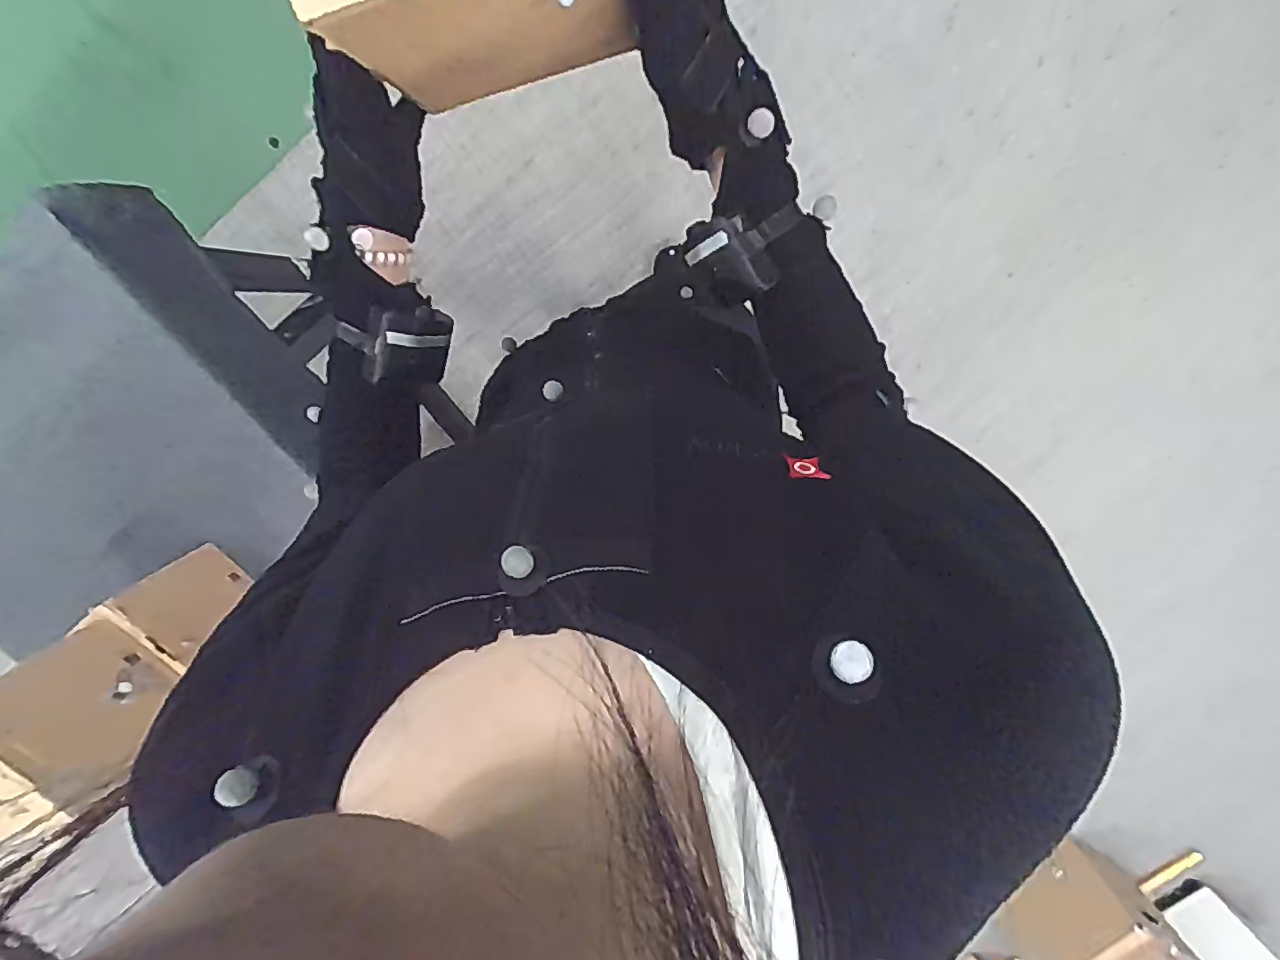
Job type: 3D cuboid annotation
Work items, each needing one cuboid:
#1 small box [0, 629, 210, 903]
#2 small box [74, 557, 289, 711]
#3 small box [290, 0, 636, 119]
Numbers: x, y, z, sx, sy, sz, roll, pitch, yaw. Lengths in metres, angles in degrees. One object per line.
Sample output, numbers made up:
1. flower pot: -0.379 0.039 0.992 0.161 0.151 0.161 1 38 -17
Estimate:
1. small box: -0.646 0.306 0.604 0.179 0.176 0.168 -38 104 12
2. small box: -0.638 0.238 0.753 0.179 0.176 0.168 -36 103 13
3. small box: -0.107 -0.347 0.319 0.179 0.176 0.168 -15 109 7
